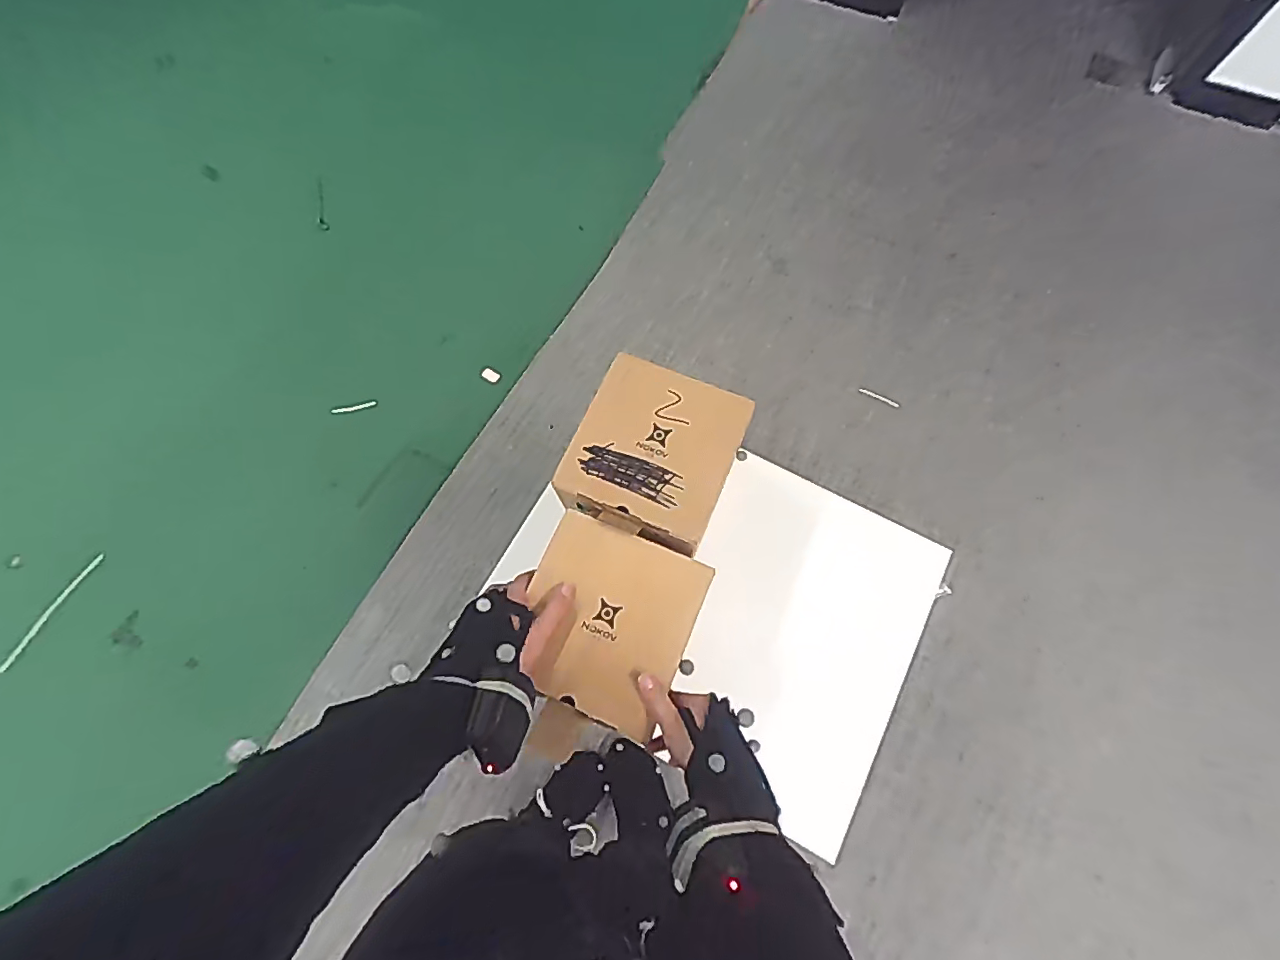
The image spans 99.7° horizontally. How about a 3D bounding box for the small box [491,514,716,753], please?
[{"bbox_3d":[-0.034,0.165,0.593,0.168,0.176,0.179,23,73,7],"label":"small box"}]
